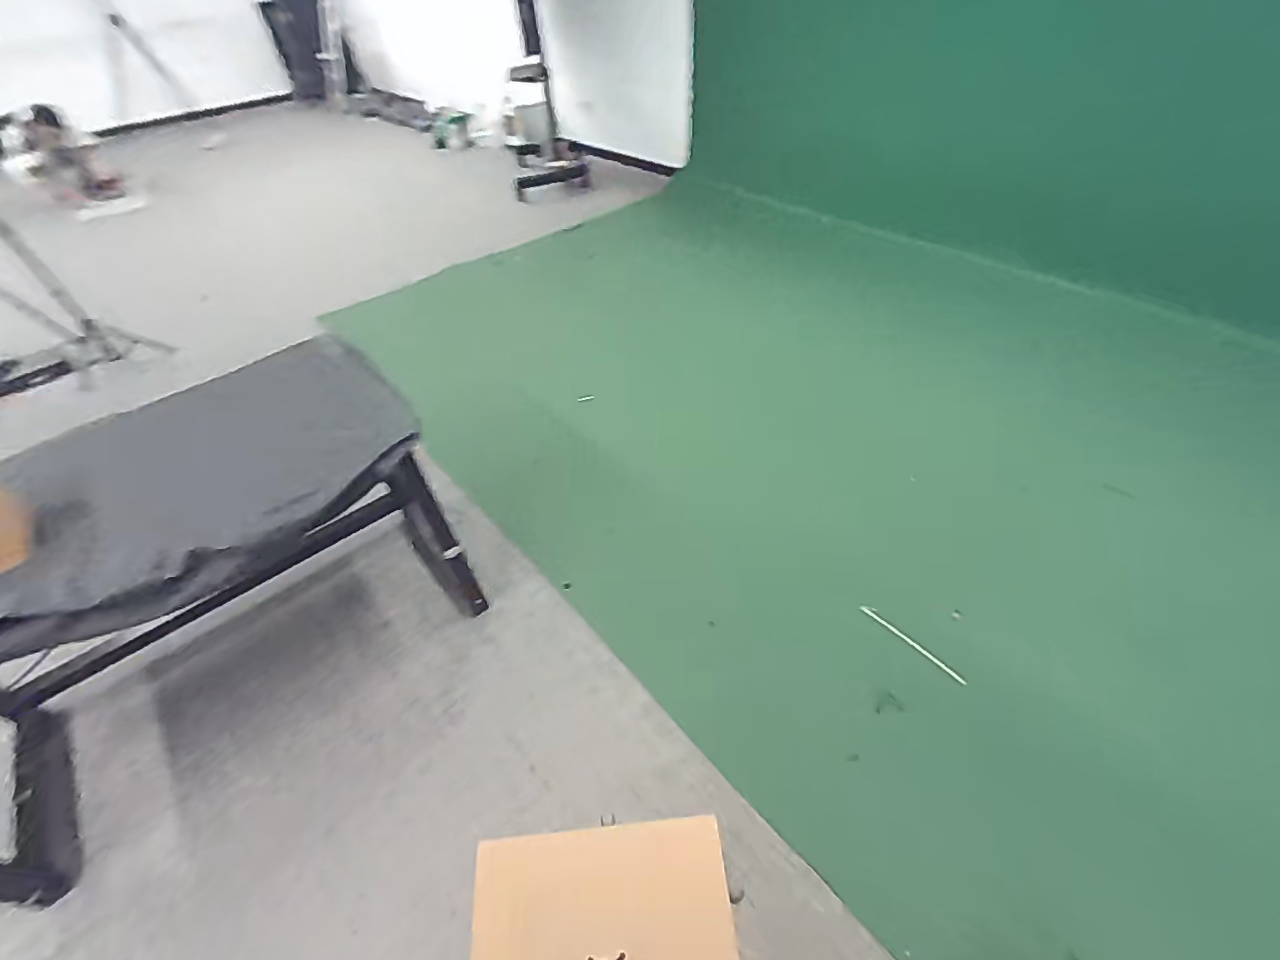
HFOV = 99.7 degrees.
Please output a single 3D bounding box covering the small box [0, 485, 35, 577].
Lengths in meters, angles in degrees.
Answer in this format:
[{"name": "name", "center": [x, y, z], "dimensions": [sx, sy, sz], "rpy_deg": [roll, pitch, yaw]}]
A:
[{"name": "small box", "center": [-1.257, 0.090, 0.972], "dimensions": [0.168, 0.176, 0.179], "rpy_deg": [-32, 52, -25]}]
